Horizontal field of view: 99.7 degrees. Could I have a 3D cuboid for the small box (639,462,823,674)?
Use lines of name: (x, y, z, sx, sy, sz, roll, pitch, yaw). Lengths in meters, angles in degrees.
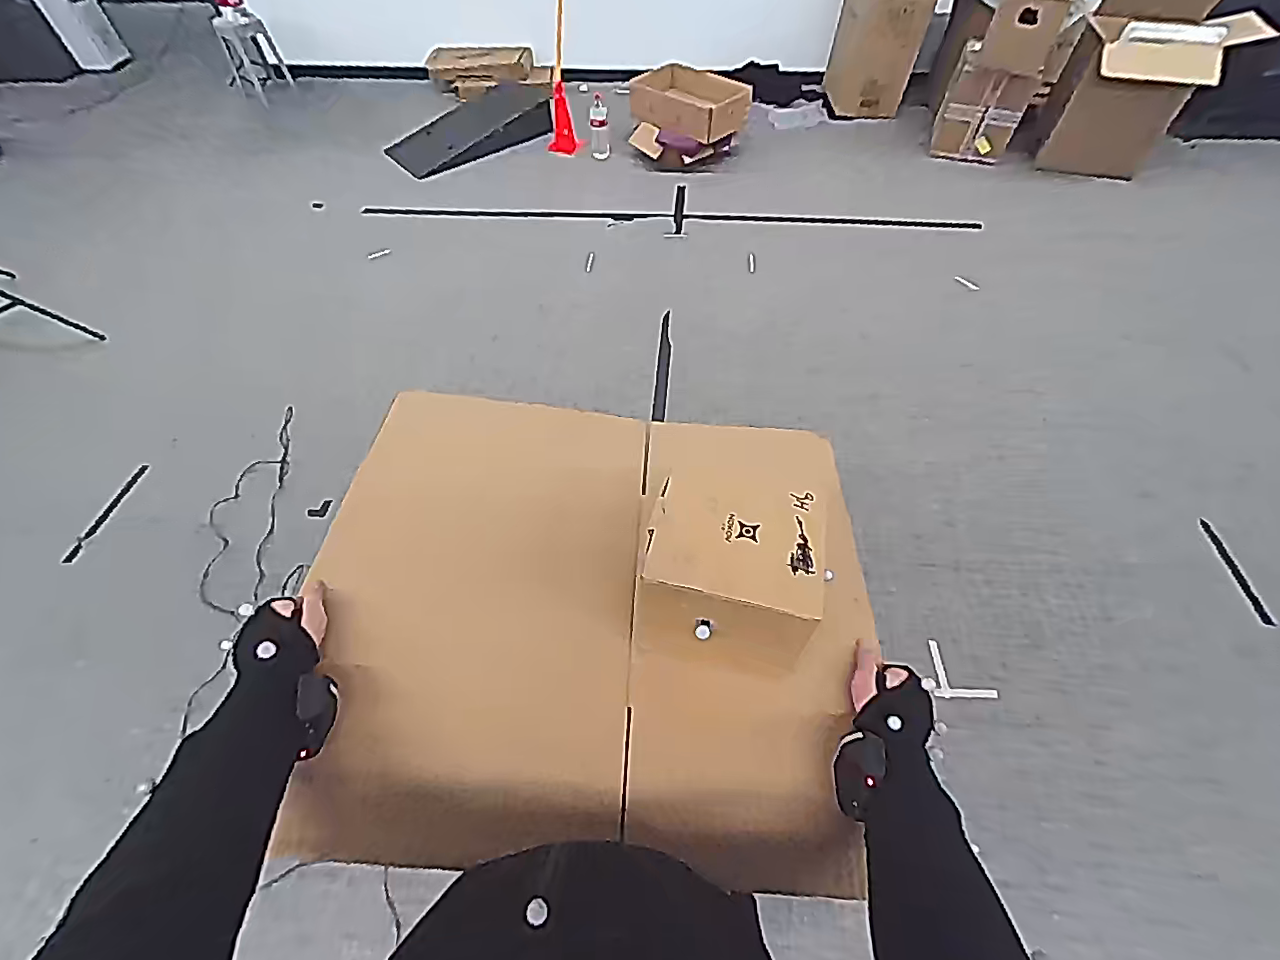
small box: (0.102, 0.105, 0.630, 0.179, 0.176, 0.168, 11, 52, 9)
